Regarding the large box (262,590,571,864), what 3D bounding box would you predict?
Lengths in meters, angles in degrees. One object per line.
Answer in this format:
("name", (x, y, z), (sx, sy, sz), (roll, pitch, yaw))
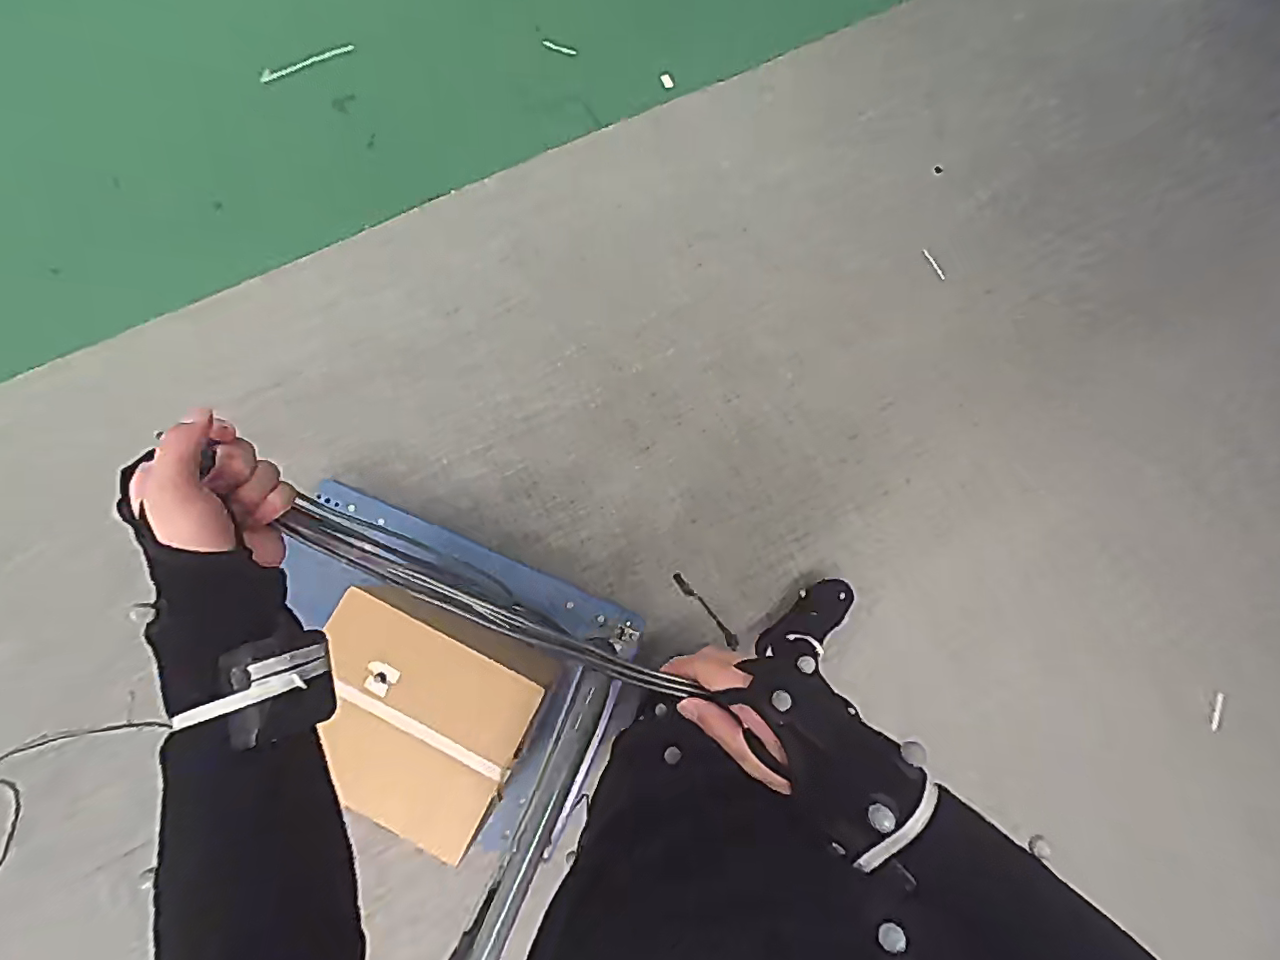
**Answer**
("large box", (-0.394, 0.441, 1.065), (0.408, 0.320, 0.320), (25, 79, 5))
